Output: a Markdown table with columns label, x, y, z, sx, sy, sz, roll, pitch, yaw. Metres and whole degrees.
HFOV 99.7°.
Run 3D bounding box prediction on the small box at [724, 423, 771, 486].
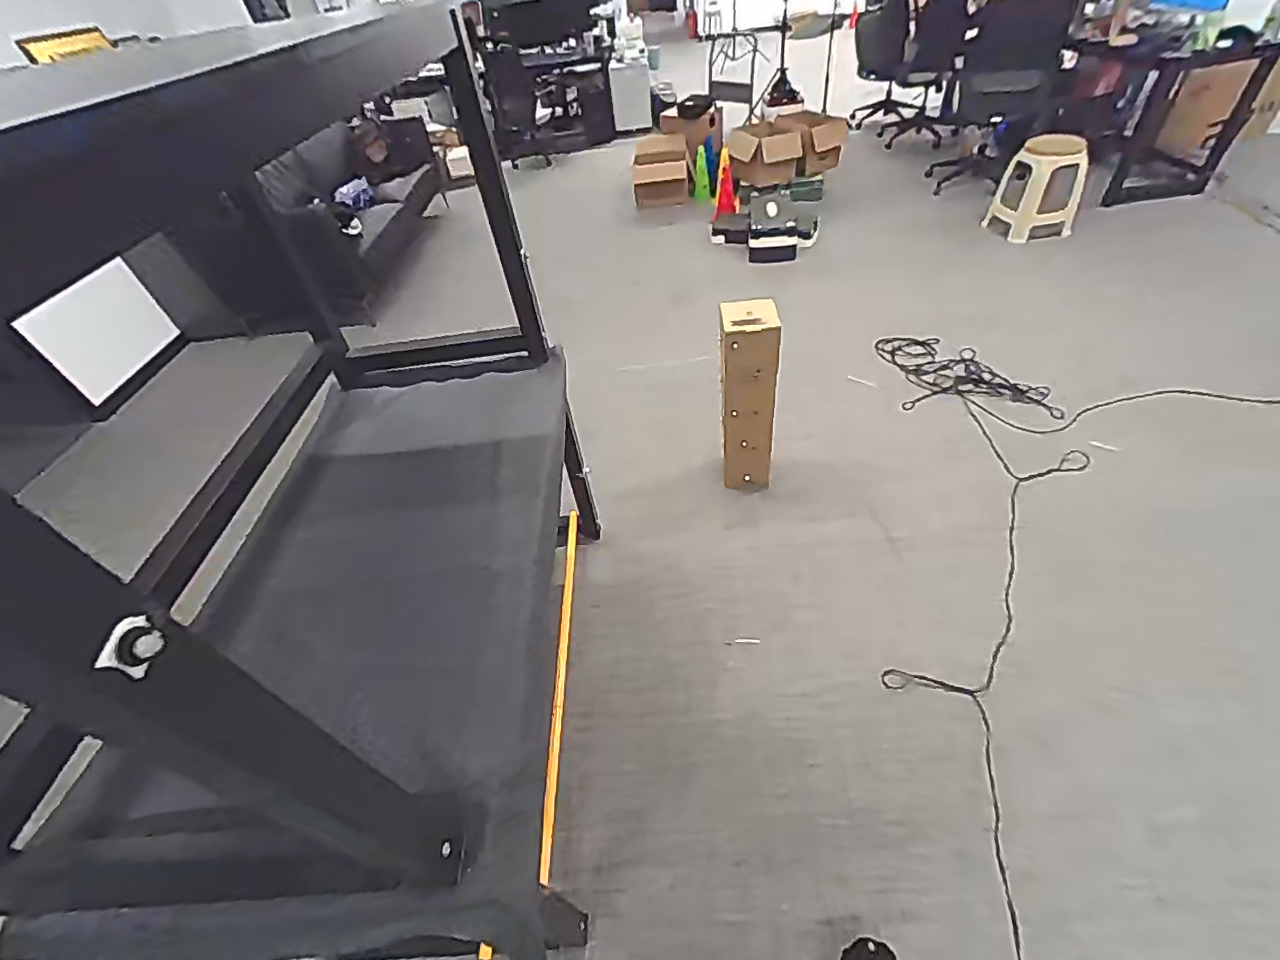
| label | x | y | z | sx | sy | sz | roll | pitch | yaw |
| --- | --- | --- | --- | --- | --- | --- | --- | --- | --- |
| small box | 0.401 | -0.095 | 2.037 | 0.168 | 0.176 | 0.179 | -2 | 46 | 9 |

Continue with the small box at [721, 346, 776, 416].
| label | x | y | z | sx | sy | sz | roll | pitch | yaw |
| --- | --- | --- | --- | --- | --- | --- | --- | --- | --- |
| small box | 0.359 | -0.324 | 1.808 | 0.168 | 0.176 | 0.179 | -3 | 45 | 6 |
